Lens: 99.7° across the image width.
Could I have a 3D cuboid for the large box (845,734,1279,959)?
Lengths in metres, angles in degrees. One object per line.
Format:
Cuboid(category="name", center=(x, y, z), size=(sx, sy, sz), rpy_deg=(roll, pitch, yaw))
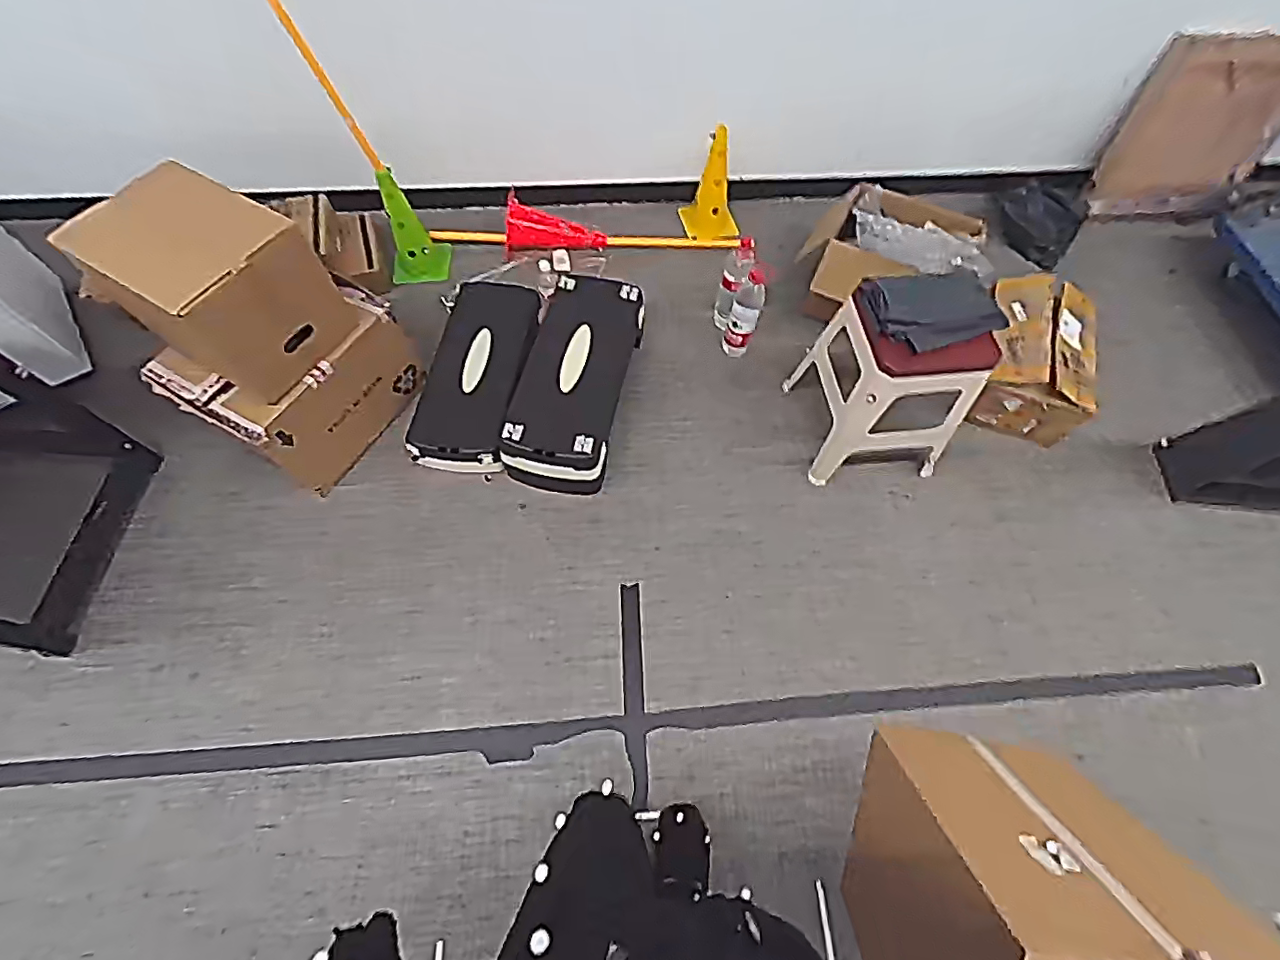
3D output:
Cuboid(category="large box", center=(0.509, 0.614, 0.708), size=(0.320, 0.408, 0.320), rpy_deg=(9, 97, 4))
